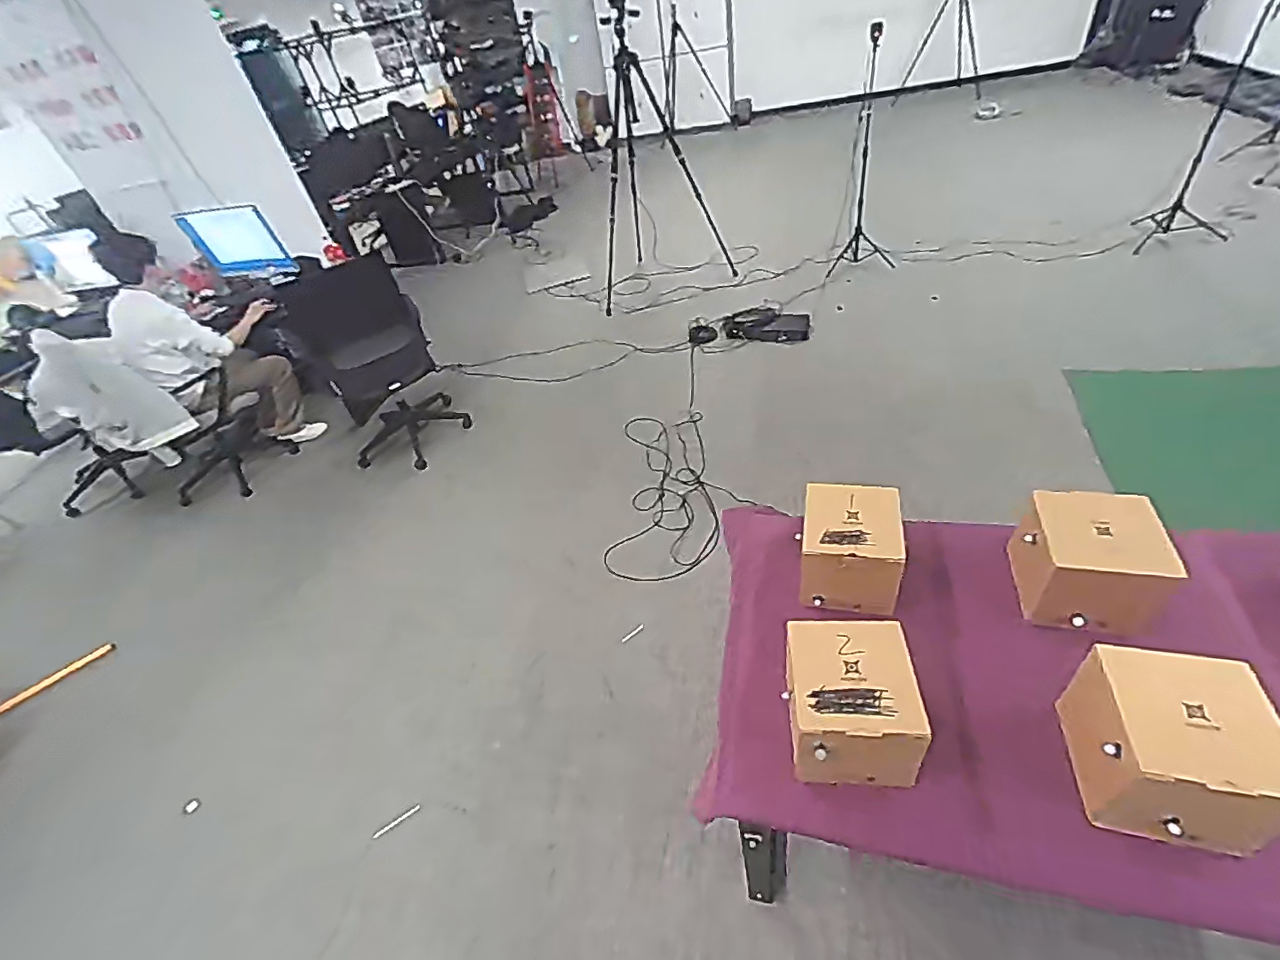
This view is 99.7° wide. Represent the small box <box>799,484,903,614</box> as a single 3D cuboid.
[{"bbox_3d":[0.393,0.131,1.025,0.168,0.176,0.179,4,45,16],"label":"small box"}]

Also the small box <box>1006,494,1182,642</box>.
[{"bbox_3d":[0.758,0.148,0.930,0.168,0.176,0.179,5,46,18],"label":"small box"}]

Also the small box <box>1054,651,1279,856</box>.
[{"bbox_3d":[0.689,0.359,0.717,0.168,0.176,0.179,5,44,17],"label":"small box"}]
